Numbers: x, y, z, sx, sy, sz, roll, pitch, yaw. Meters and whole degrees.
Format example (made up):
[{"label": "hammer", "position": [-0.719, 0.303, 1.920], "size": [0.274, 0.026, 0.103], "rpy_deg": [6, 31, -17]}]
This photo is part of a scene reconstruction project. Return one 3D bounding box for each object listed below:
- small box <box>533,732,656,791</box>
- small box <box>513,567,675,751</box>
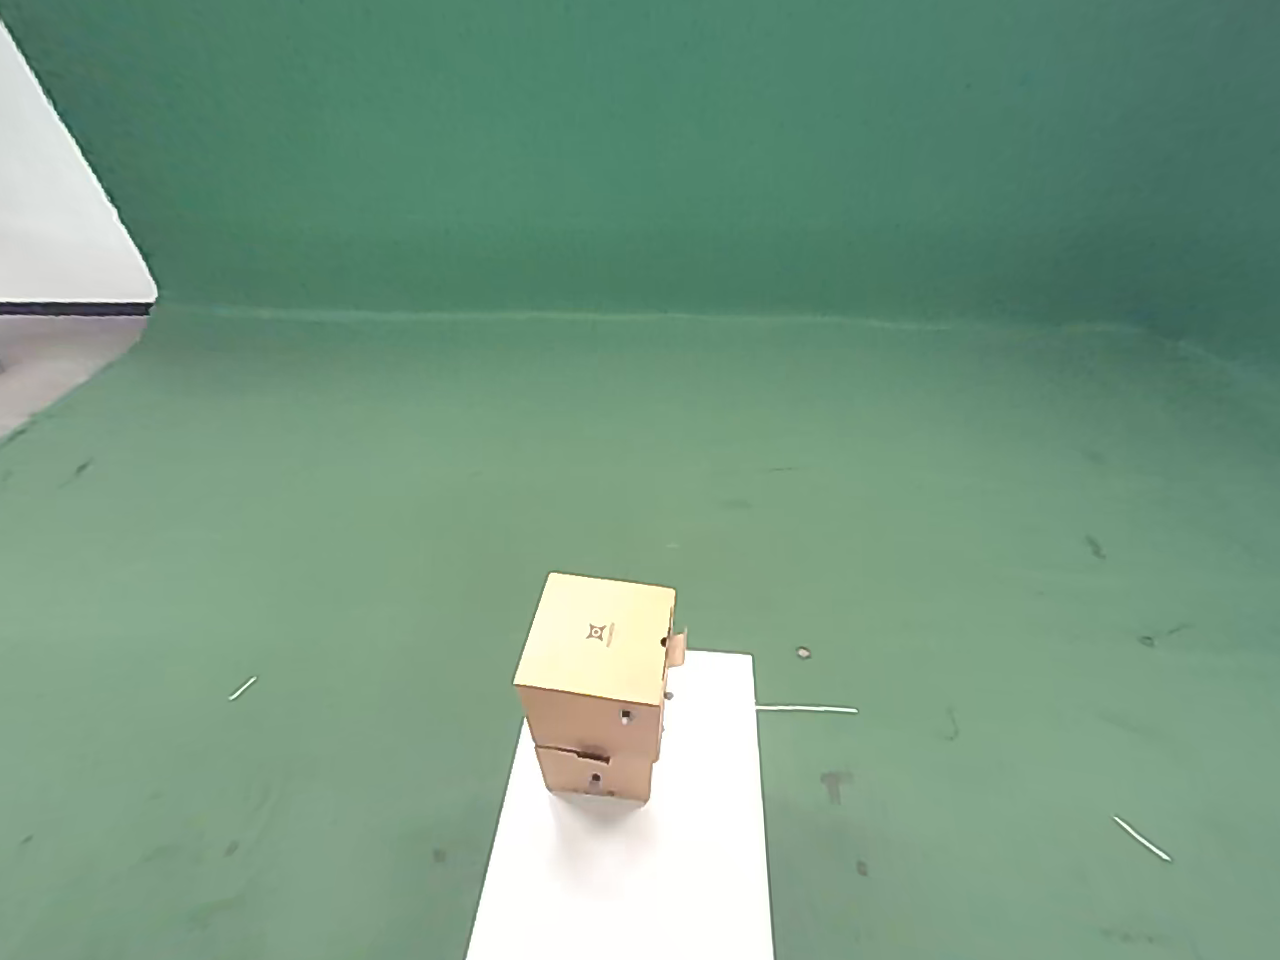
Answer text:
[{"label": "small box", "position": [-0.055, 0.357, 0.835], "size": [0.168, 0.176, 0.179], "rpy_deg": [4, 44, 3]}, {"label": "small box", "position": [-0.051, 0.239, 0.721], "size": [0.179, 0.176, 0.168], "rpy_deg": [6, 43, 5]}]
